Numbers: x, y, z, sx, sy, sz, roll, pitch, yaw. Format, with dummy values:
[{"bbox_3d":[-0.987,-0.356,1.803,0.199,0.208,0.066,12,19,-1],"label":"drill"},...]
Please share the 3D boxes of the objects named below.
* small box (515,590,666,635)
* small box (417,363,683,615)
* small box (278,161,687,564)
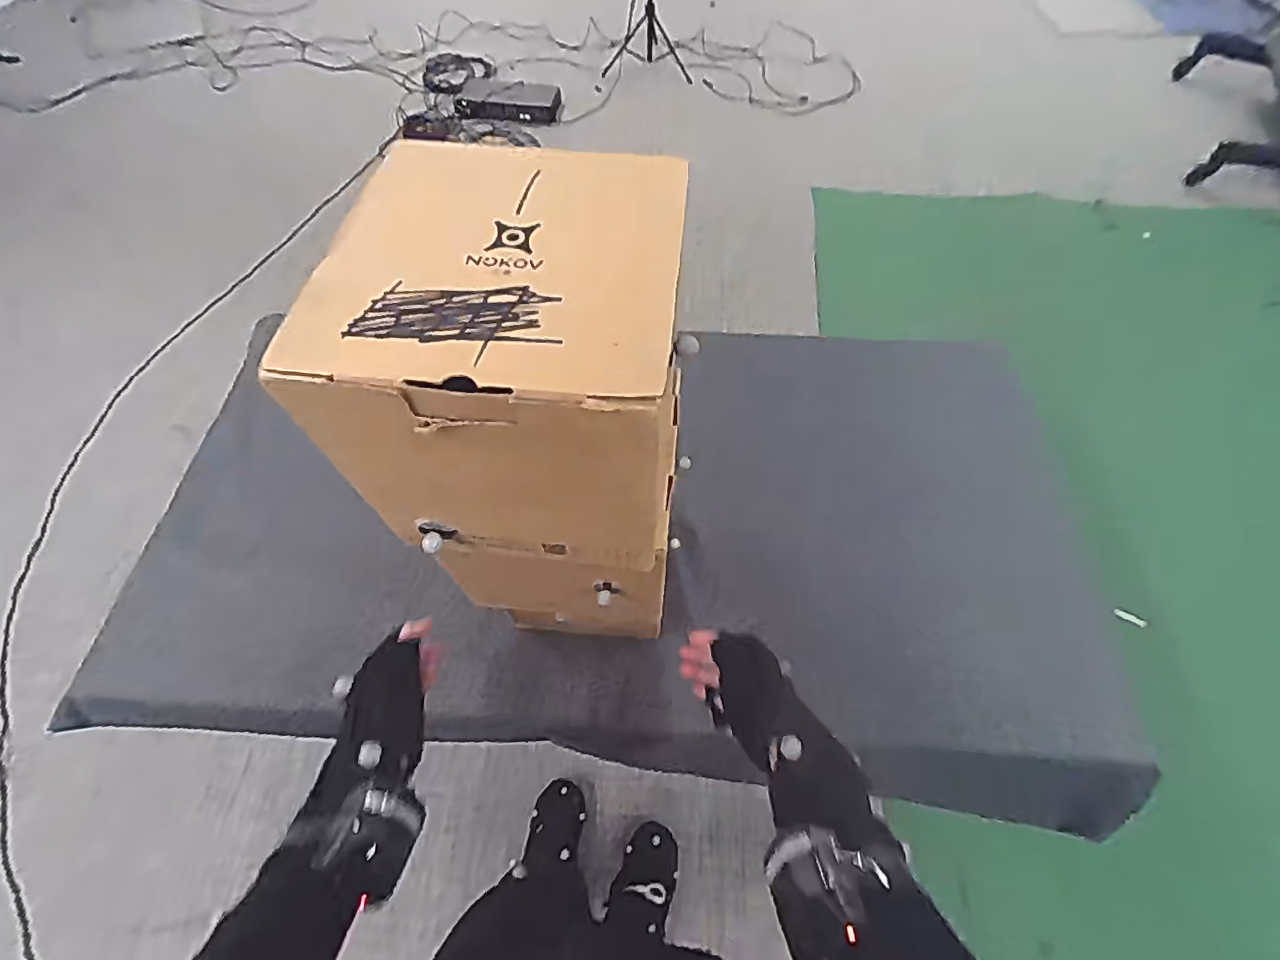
[{"bbox_3d":[-0.056,0.076,0.632,0.179,0.176,0.168,2,58,1],"label":"small box"},{"bbox_3d":[-0.059,0.011,0.462,0.179,0.176,0.168,1,60,0],"label":"small box"},{"bbox_3d":[-0.063,-0.062,0.333,0.168,0.176,0.179,6,58,3],"label":"small box"}]
